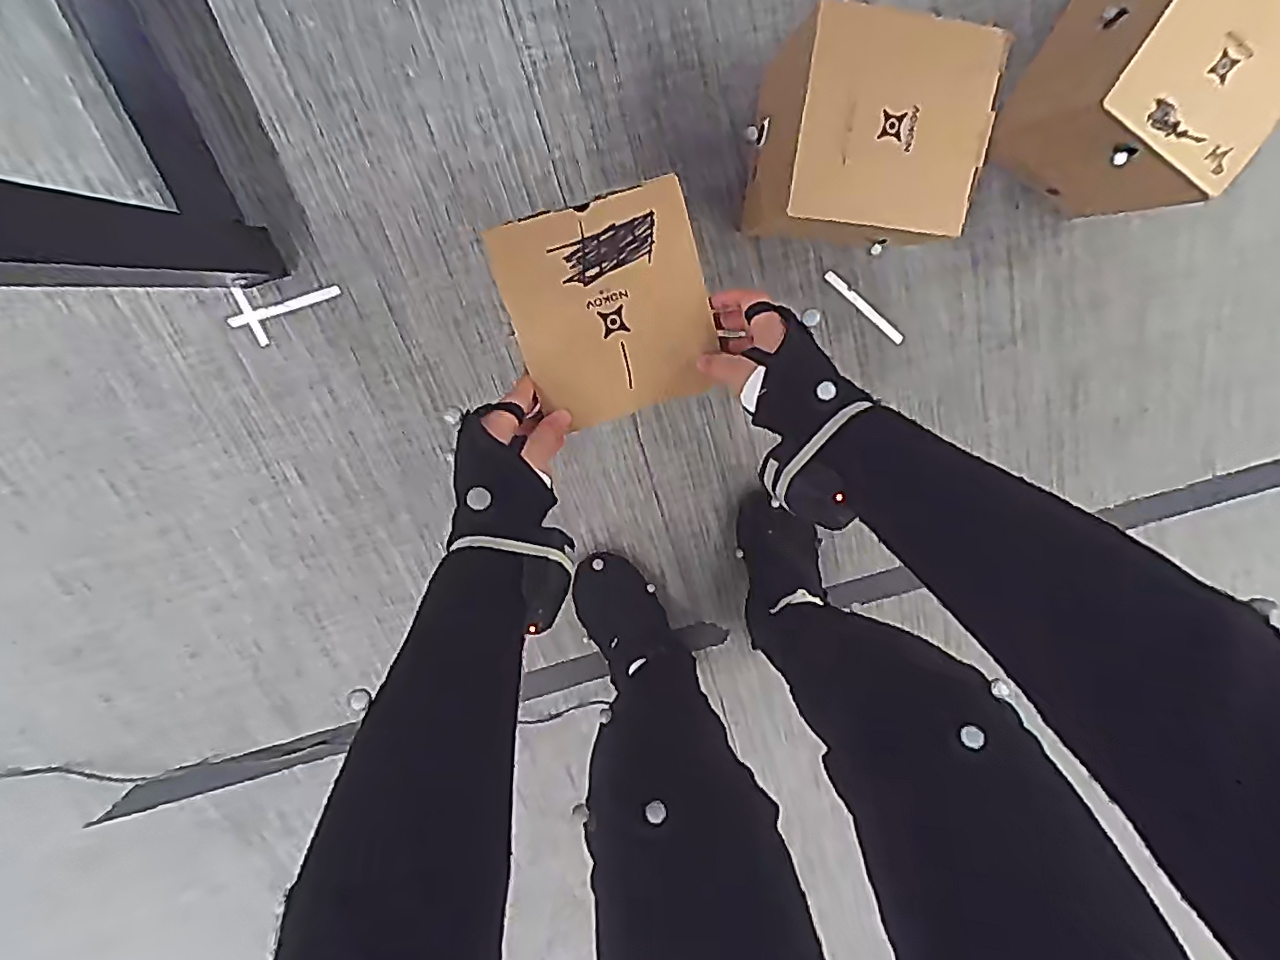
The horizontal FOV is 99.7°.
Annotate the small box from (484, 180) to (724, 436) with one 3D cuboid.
[{"bbox_3d":[-0.035,-0.158,0.529,0.168,0.176,0.179,-18,105,-2],"label":"small box"}]

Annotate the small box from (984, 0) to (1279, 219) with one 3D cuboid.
[{"bbox_3d":[0.511,-0.400,0.558,0.168,0.176,0.179,25,105,-13],"label":"small box"}]

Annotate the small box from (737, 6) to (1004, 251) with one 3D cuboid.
[{"bbox_3d":[0.215,-0.336,0.556,0.179,0.176,0.168,4,108,-6],"label":"small box"}]
